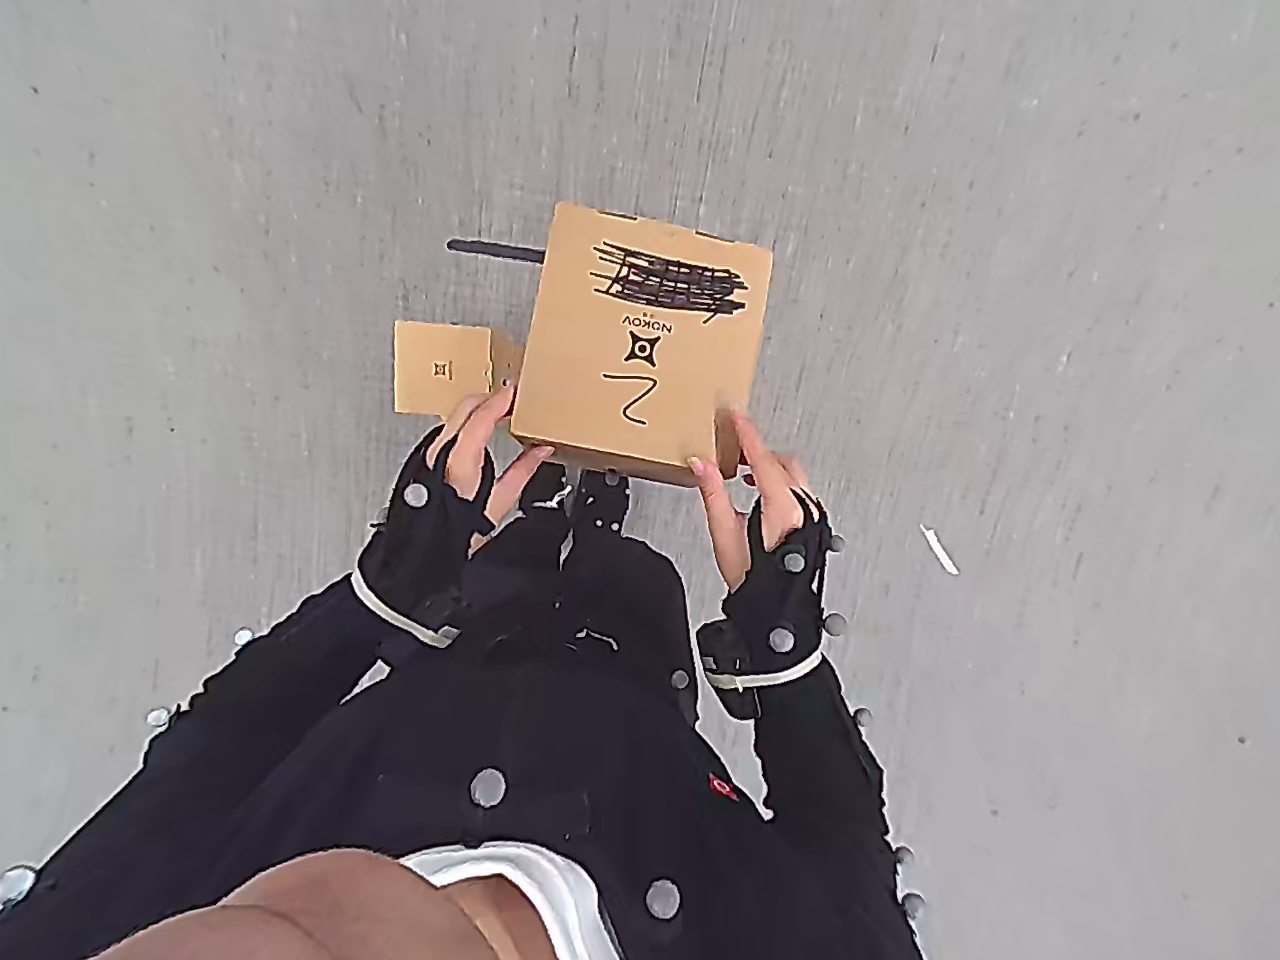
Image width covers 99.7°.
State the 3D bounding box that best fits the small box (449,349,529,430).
[{"bbox_3d":[-0.356,-0.219,1.223,0.168,0.176,0.179,11,98,-3],"label":"small box"}]

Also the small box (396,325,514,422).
[{"bbox_3d":[-0.356,-0.203,1.060,0.179,0.176,0.168,4,98,-2],"label":"small box"}]
